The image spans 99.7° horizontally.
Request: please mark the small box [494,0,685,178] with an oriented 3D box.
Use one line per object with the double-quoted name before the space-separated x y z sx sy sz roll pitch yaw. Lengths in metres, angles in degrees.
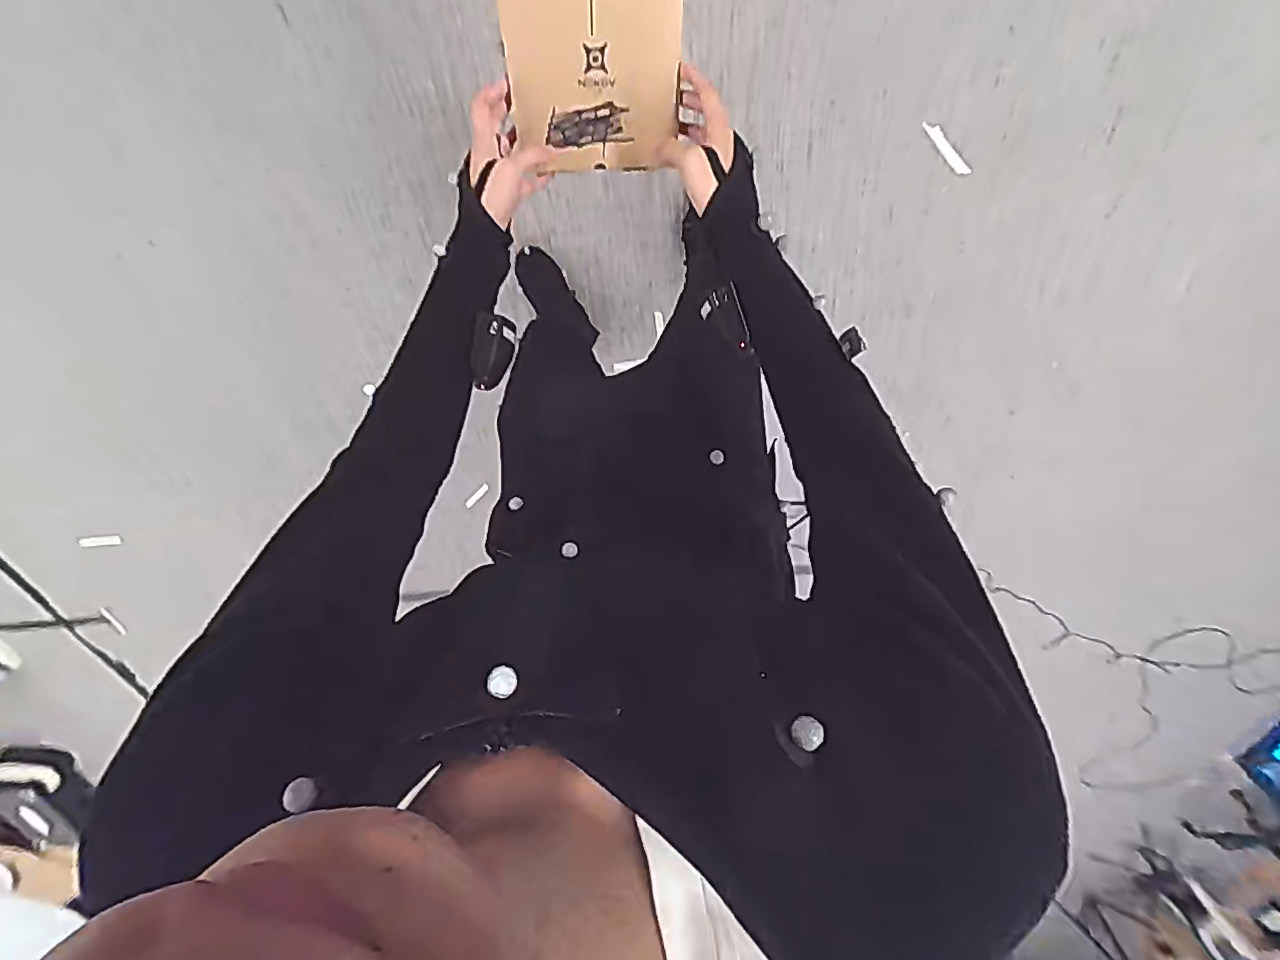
"small box" -0.049 -0.432 0.551 0.168 0.176 0.179 -4 136 -4
